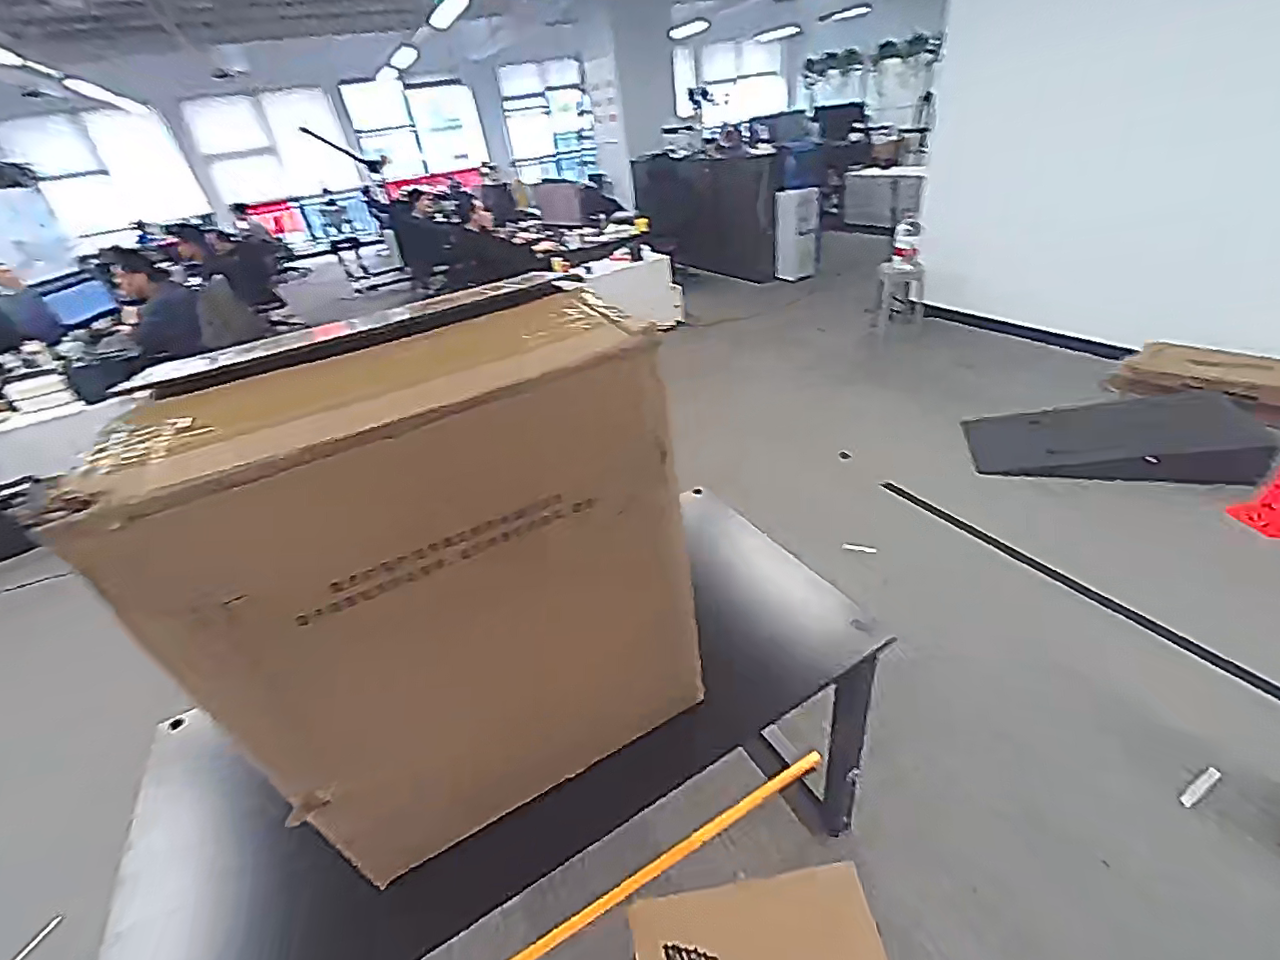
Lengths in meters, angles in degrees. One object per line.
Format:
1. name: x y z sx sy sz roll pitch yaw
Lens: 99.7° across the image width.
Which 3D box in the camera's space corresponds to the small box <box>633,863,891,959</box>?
1. small box: 0.095 0.413 0.406 0.179 0.176 0.168 -7 46 -4
